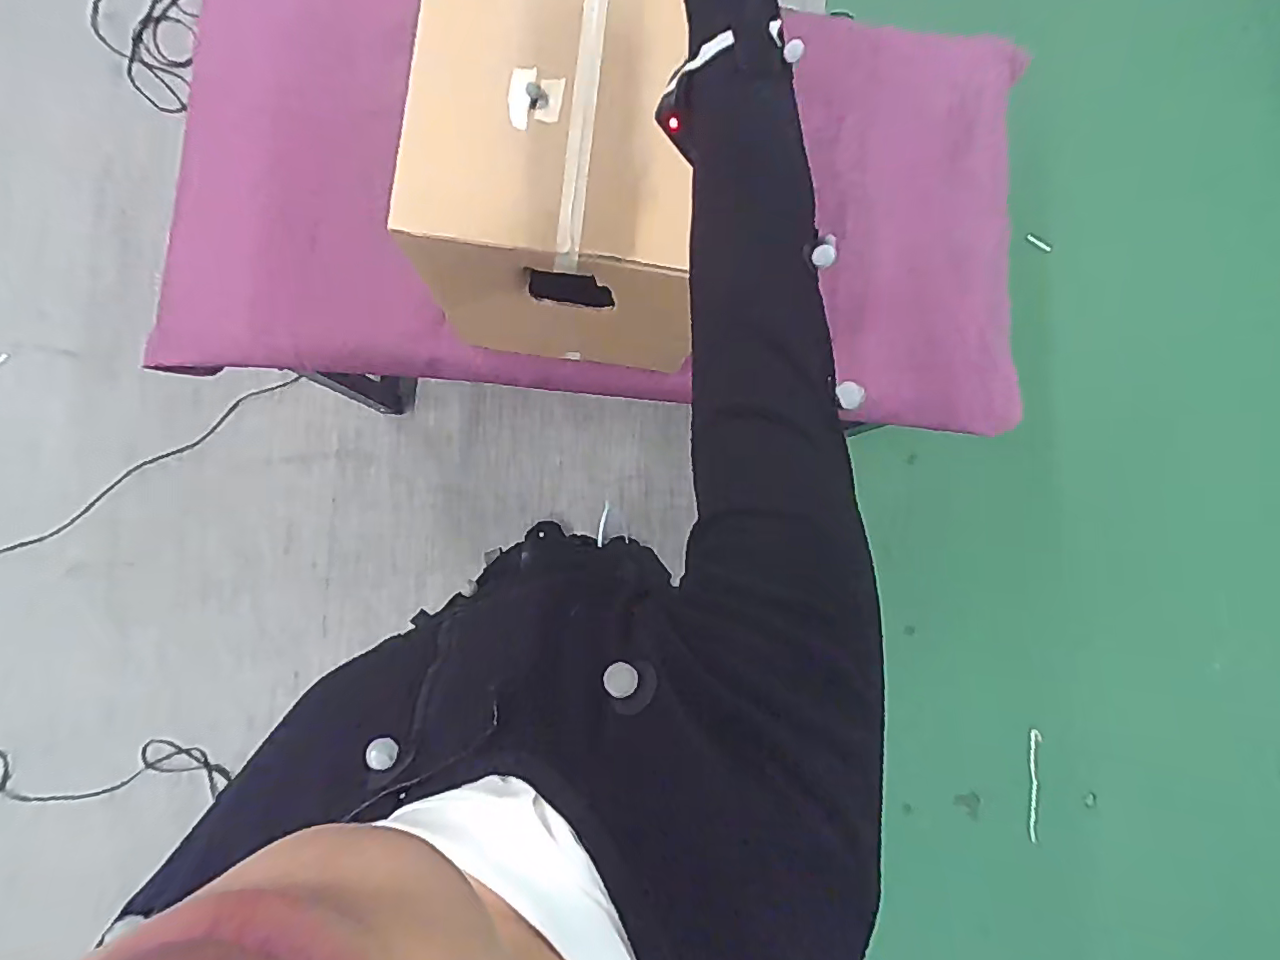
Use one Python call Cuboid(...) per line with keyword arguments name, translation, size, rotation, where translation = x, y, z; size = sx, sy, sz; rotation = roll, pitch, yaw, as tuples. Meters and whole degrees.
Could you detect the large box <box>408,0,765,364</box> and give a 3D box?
Cuboid(name="large box", translation=(-0.056, -0.393, 0.658), size=(0.320, 0.320, 0.408), rotation=(7, 86, -5))
